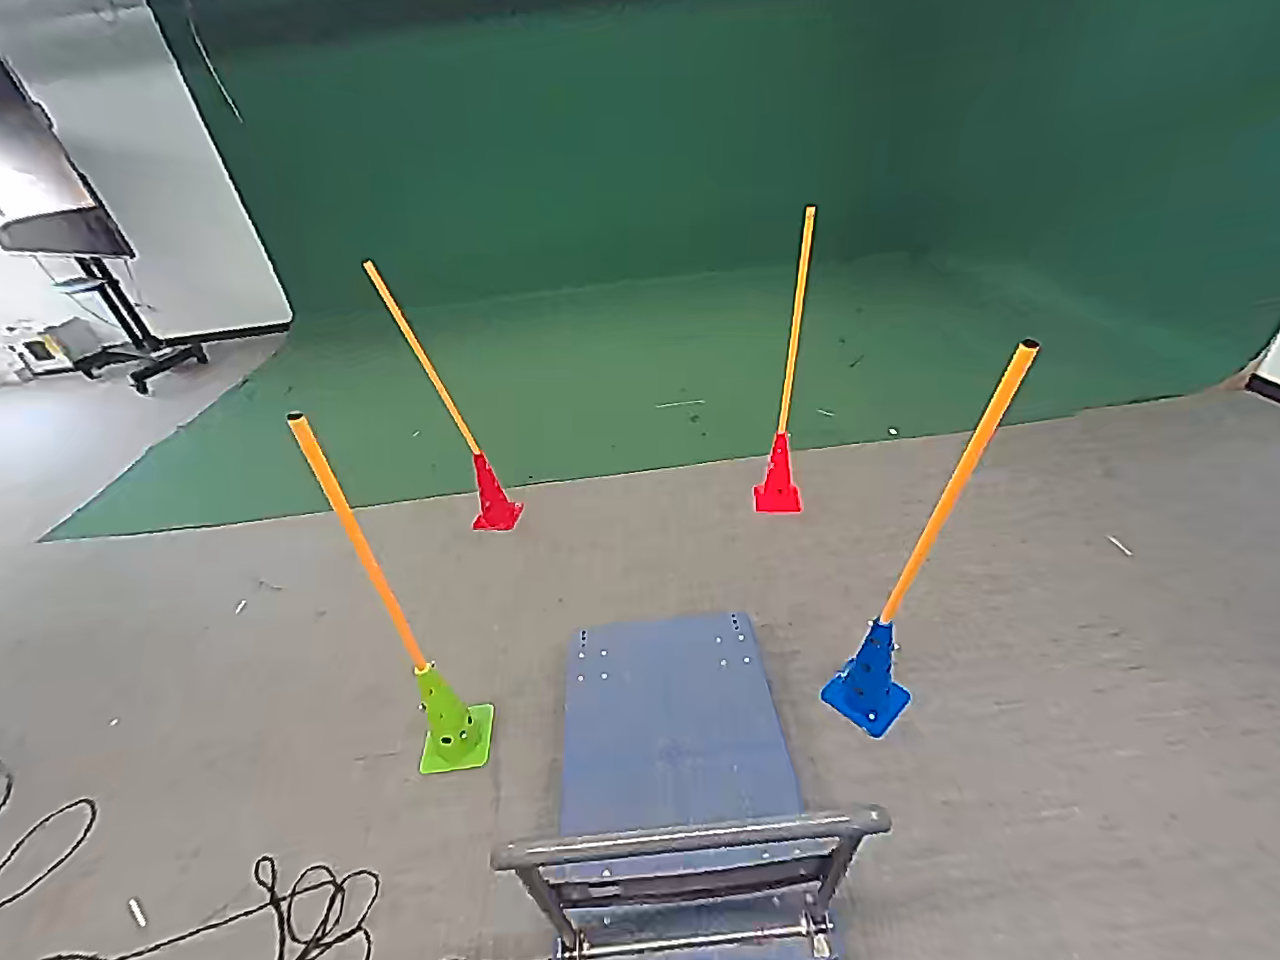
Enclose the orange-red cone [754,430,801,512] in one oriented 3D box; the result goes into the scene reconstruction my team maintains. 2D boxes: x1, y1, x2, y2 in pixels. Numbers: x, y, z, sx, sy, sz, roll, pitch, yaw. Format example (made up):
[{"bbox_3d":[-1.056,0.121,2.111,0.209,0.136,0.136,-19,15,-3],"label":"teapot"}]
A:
[{"bbox_3d":[0.600,-0.056,2.342,0.198,0.360,0.199,-1,37,9],"label":"orange-red cone"}]
